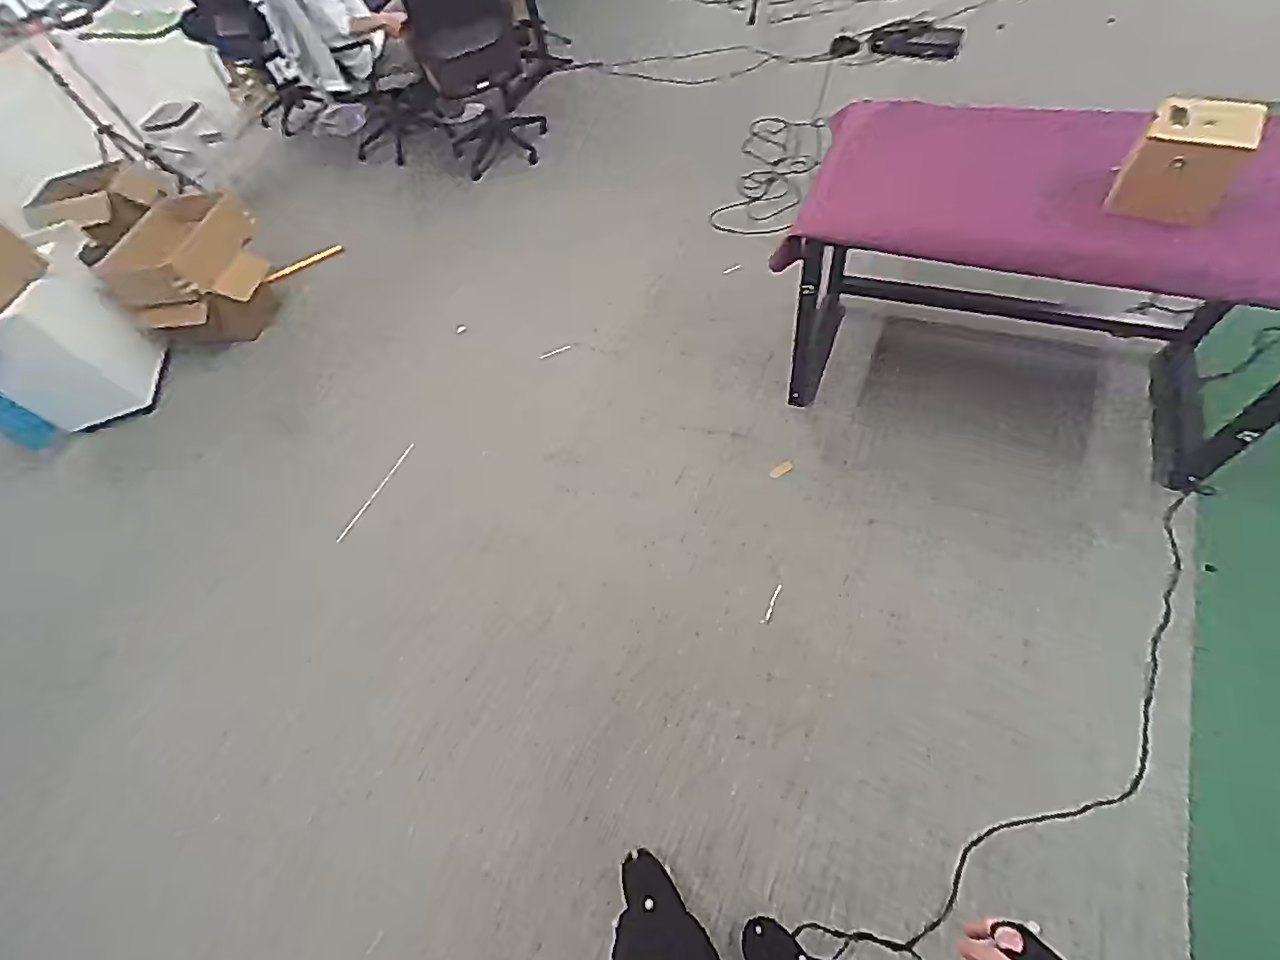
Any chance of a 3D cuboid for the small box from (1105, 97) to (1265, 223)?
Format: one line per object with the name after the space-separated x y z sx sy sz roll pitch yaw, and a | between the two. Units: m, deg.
1.144 -0.676 1.148 0.179 0.176 0.168 25 66 23 | small box
